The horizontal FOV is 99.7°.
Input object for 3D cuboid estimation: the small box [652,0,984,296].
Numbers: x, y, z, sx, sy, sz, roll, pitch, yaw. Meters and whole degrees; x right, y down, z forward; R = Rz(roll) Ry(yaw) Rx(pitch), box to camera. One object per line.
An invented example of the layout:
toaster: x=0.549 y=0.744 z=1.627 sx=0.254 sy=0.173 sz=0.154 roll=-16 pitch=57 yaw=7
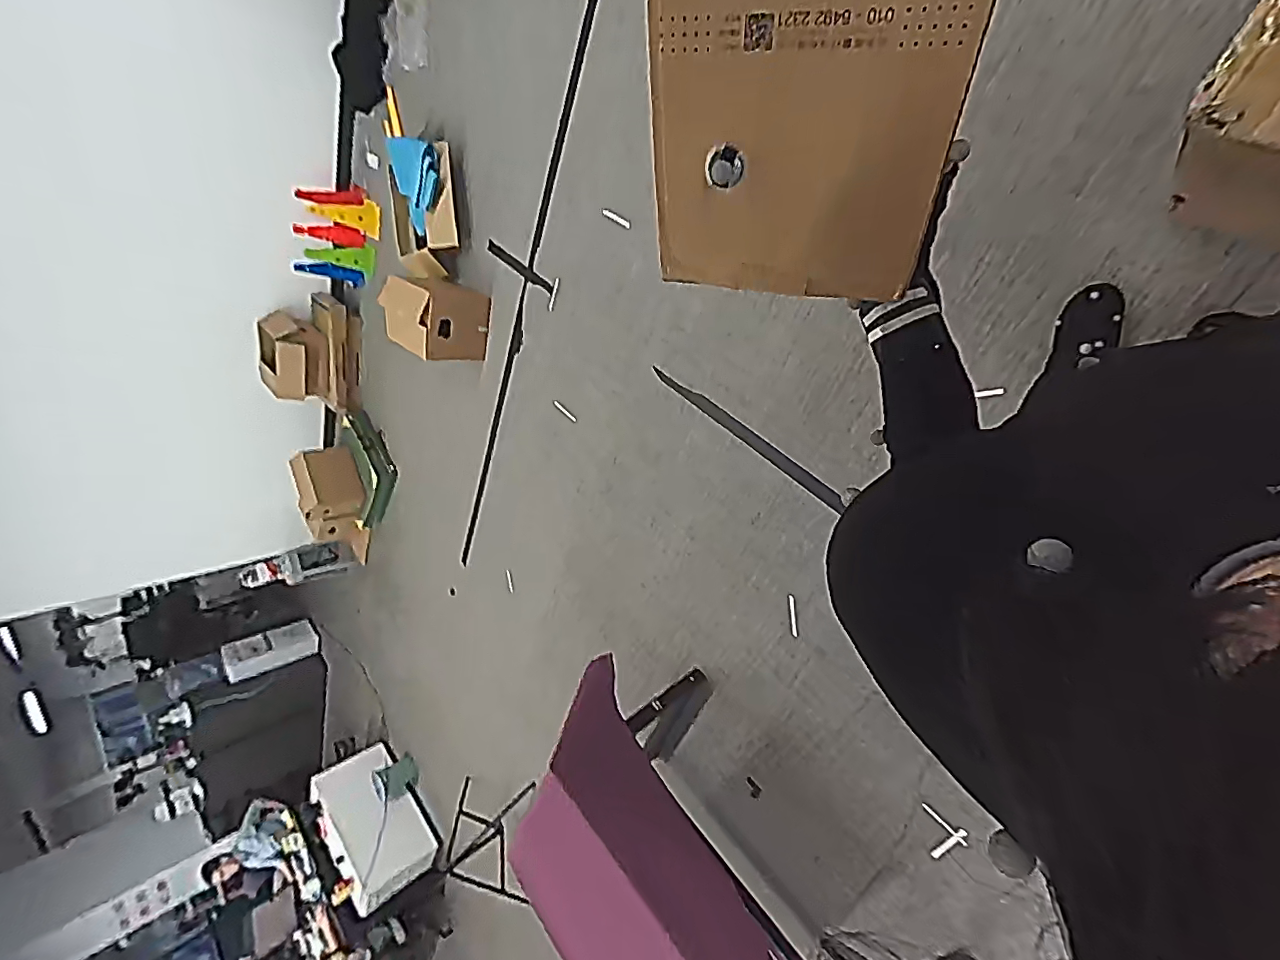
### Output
small box: x=0.114 y=-0.247 z=0.360 sx=0.168 sy=0.179 sz=0.176 roll=12 pitch=141 yaw=18
